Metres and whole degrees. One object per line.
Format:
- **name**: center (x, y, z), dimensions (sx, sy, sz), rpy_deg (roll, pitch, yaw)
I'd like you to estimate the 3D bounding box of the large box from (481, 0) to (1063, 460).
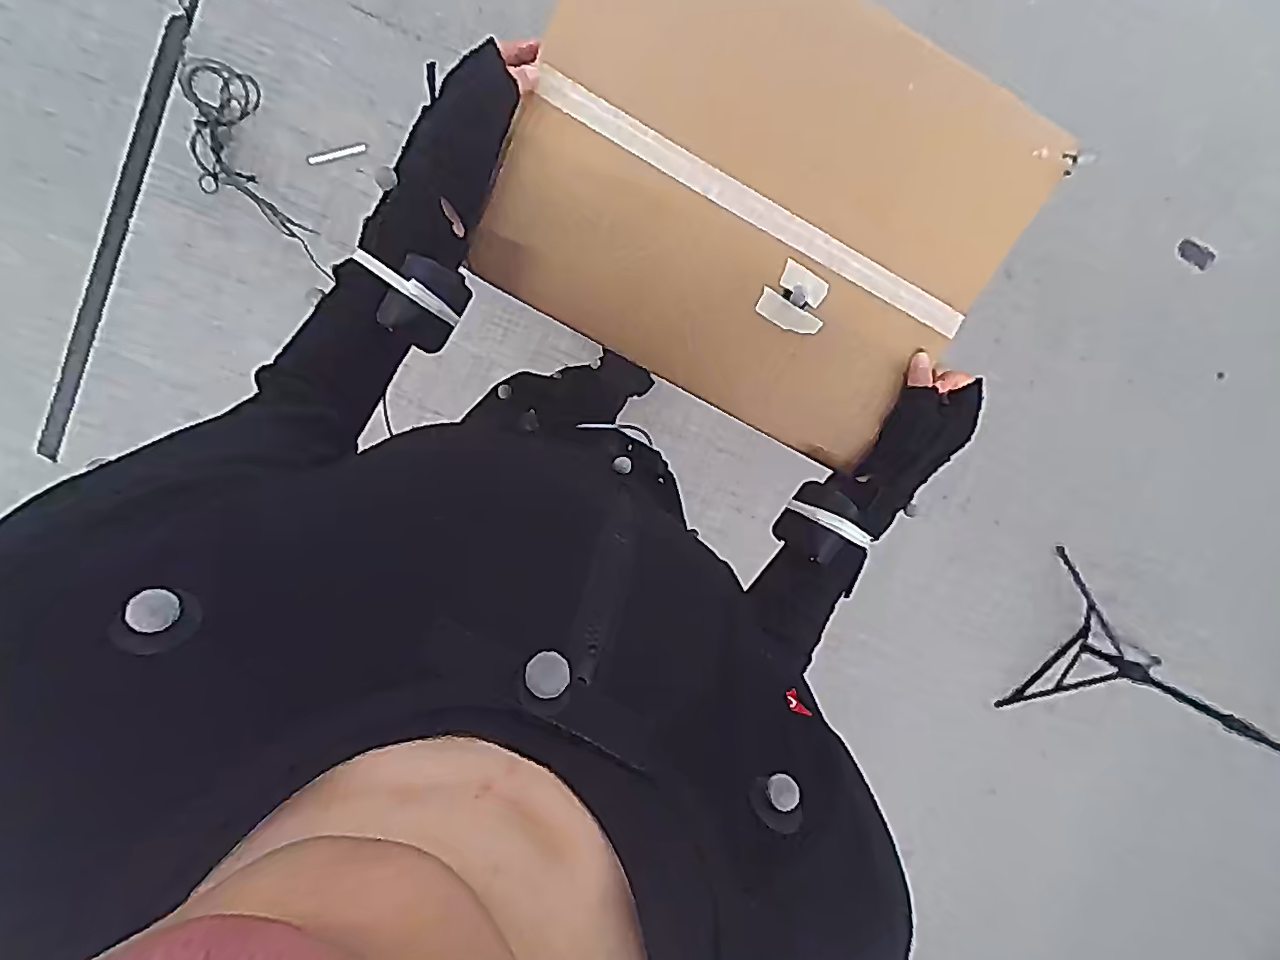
- **large box**: center (0.103, -0.278, 0.598), dimensions (0.408, 0.320, 0.320), rpy_deg (27, 108, -8)
